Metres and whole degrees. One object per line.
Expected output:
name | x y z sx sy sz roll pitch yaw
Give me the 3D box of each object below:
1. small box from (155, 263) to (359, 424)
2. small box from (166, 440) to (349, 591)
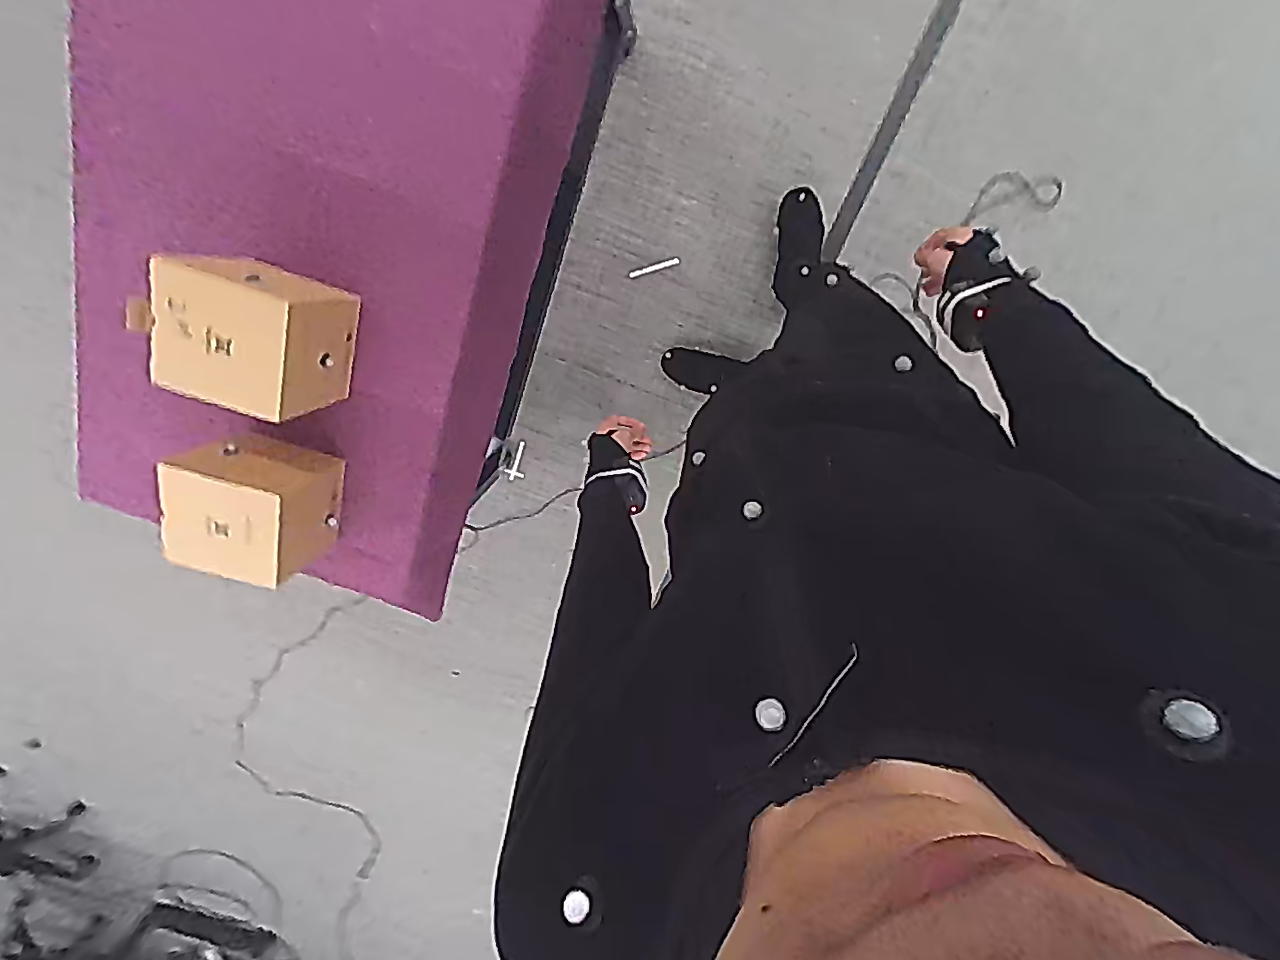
small box | -0.535 -0.200 0.774 0.179 0.176 0.168 18 110 -3
small box | -0.606 0.047 0.871 0.179 0.176 0.168 16 111 -2
